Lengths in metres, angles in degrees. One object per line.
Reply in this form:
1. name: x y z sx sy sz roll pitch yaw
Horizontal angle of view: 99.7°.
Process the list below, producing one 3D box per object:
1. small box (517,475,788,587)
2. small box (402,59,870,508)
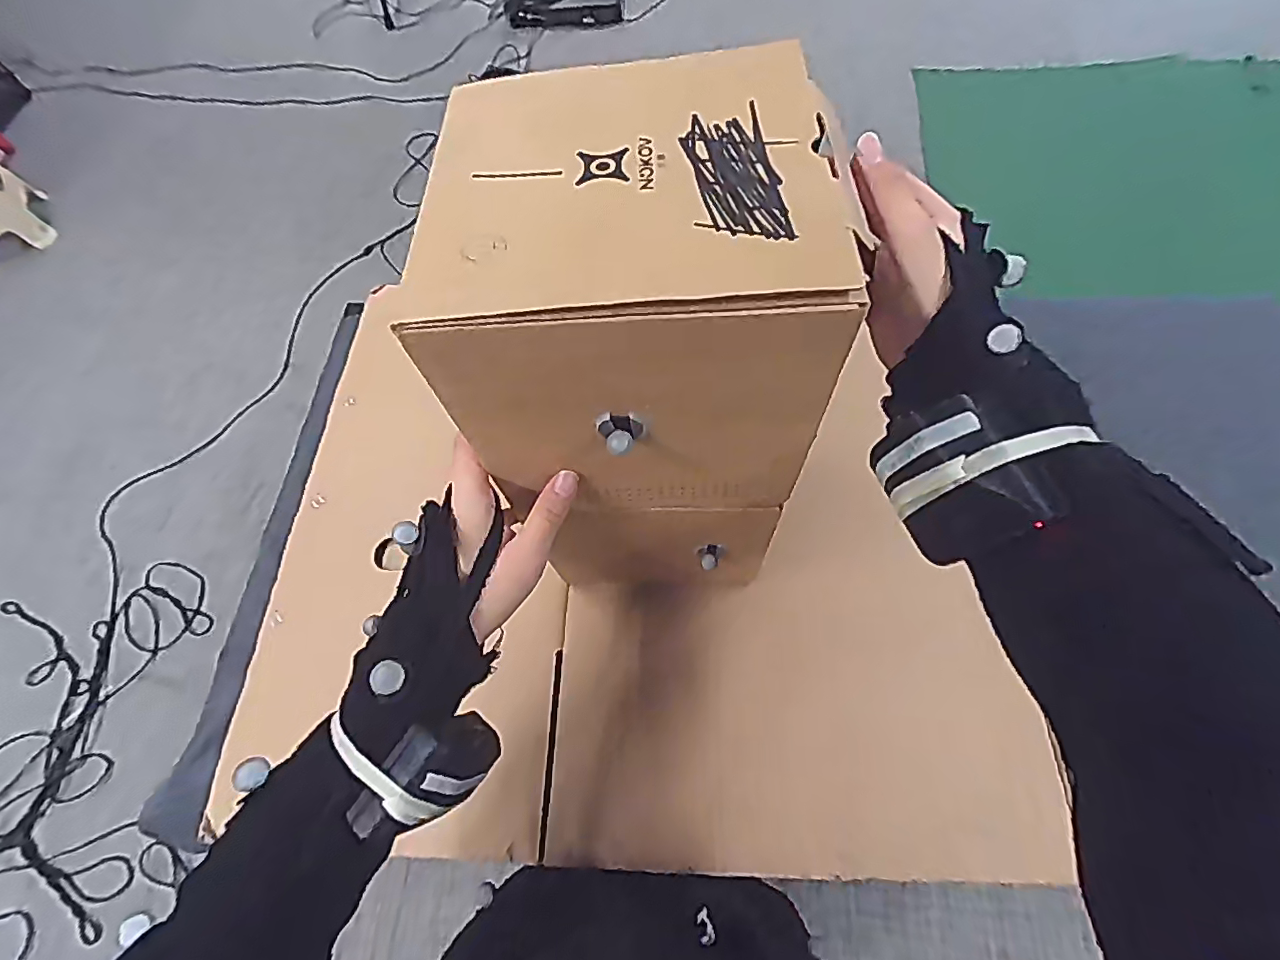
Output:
1. small box: 0.014 -0.014 0.449 0.179 0.176 0.168 -2 62 5
2. small box: 0.002 -0.092 0.304 0.179 0.176 0.168 -3 62 4
